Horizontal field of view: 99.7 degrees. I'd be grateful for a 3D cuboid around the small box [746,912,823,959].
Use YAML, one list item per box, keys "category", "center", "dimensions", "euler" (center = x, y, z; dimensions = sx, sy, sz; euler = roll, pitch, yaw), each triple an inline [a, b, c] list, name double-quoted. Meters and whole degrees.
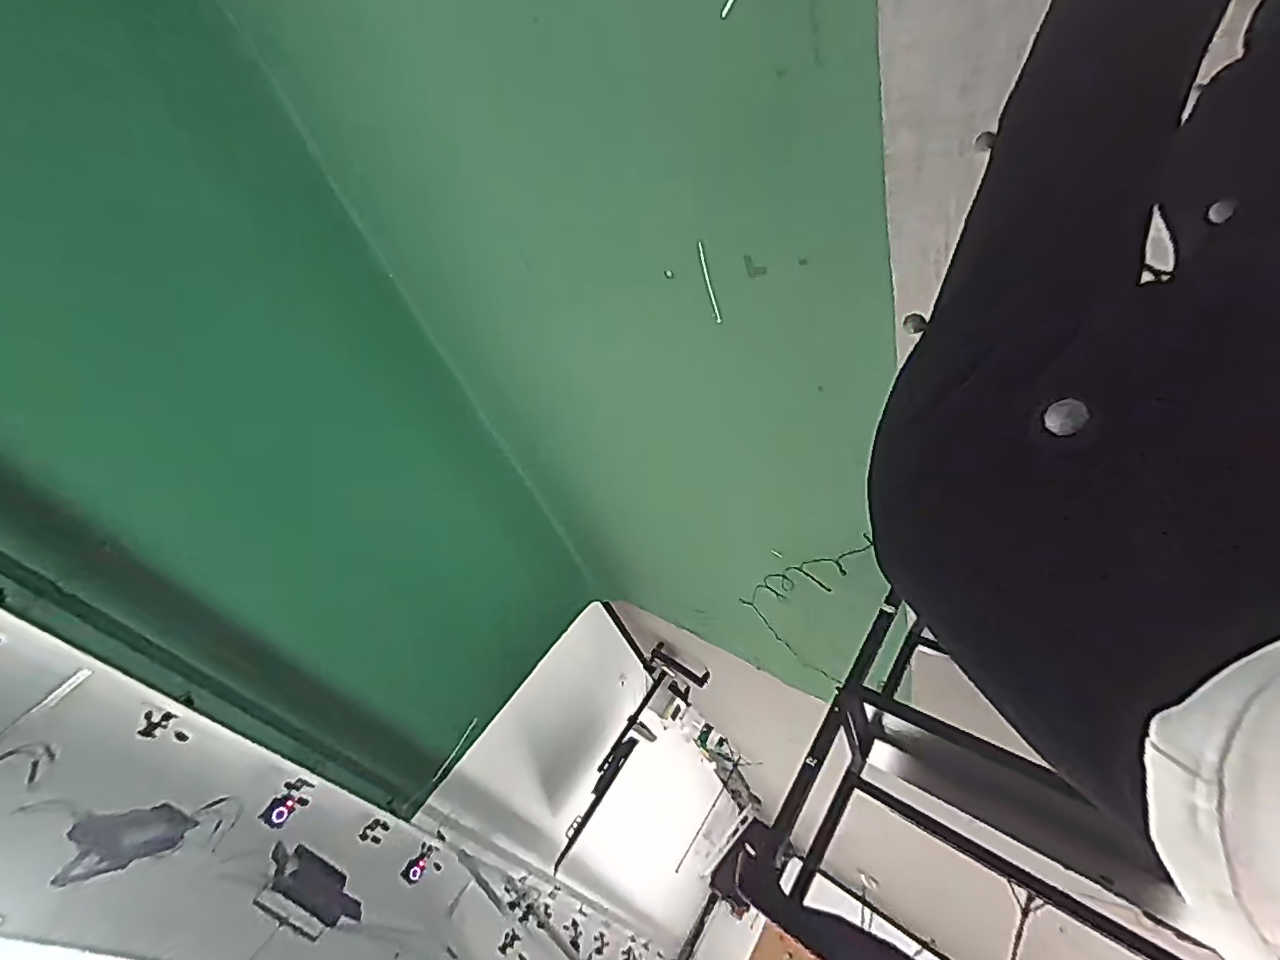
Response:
- category: "small box"
  center: [0.443, 1.471, 1.644]
  dimensions: [0.168, 0.176, 0.179]
  euler: [16, 143, 40]
